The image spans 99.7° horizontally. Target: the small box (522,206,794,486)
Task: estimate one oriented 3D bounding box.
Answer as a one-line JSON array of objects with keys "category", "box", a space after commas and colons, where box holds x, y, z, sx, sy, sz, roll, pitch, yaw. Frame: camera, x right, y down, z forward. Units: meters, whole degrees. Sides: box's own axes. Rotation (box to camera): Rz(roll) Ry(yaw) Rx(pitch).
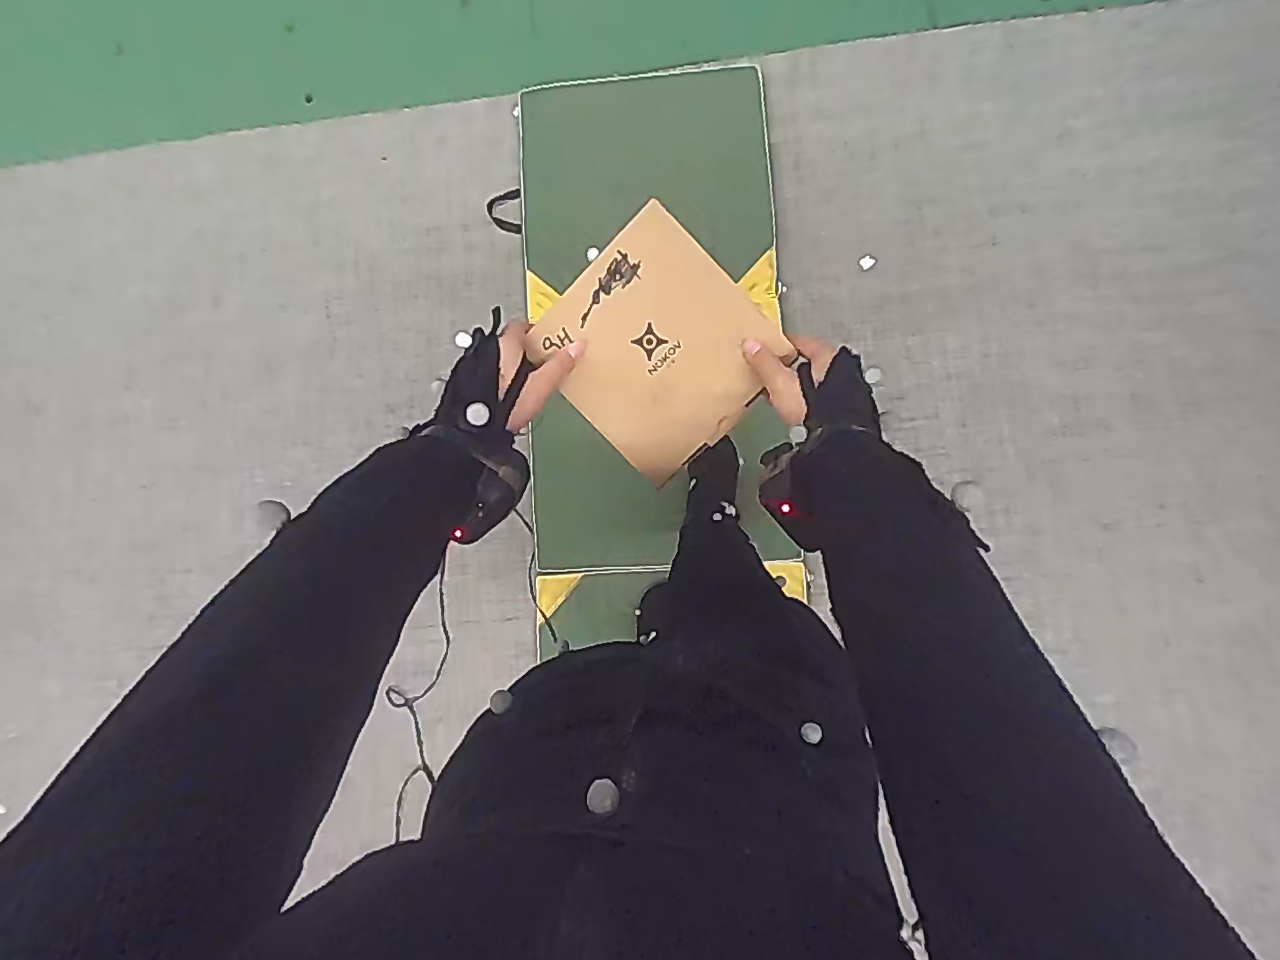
[{"category": "small box", "box": [0.019, -0.123, 0.534, 0.168, 0.176, 0.179, -43, 94, 9]}]
